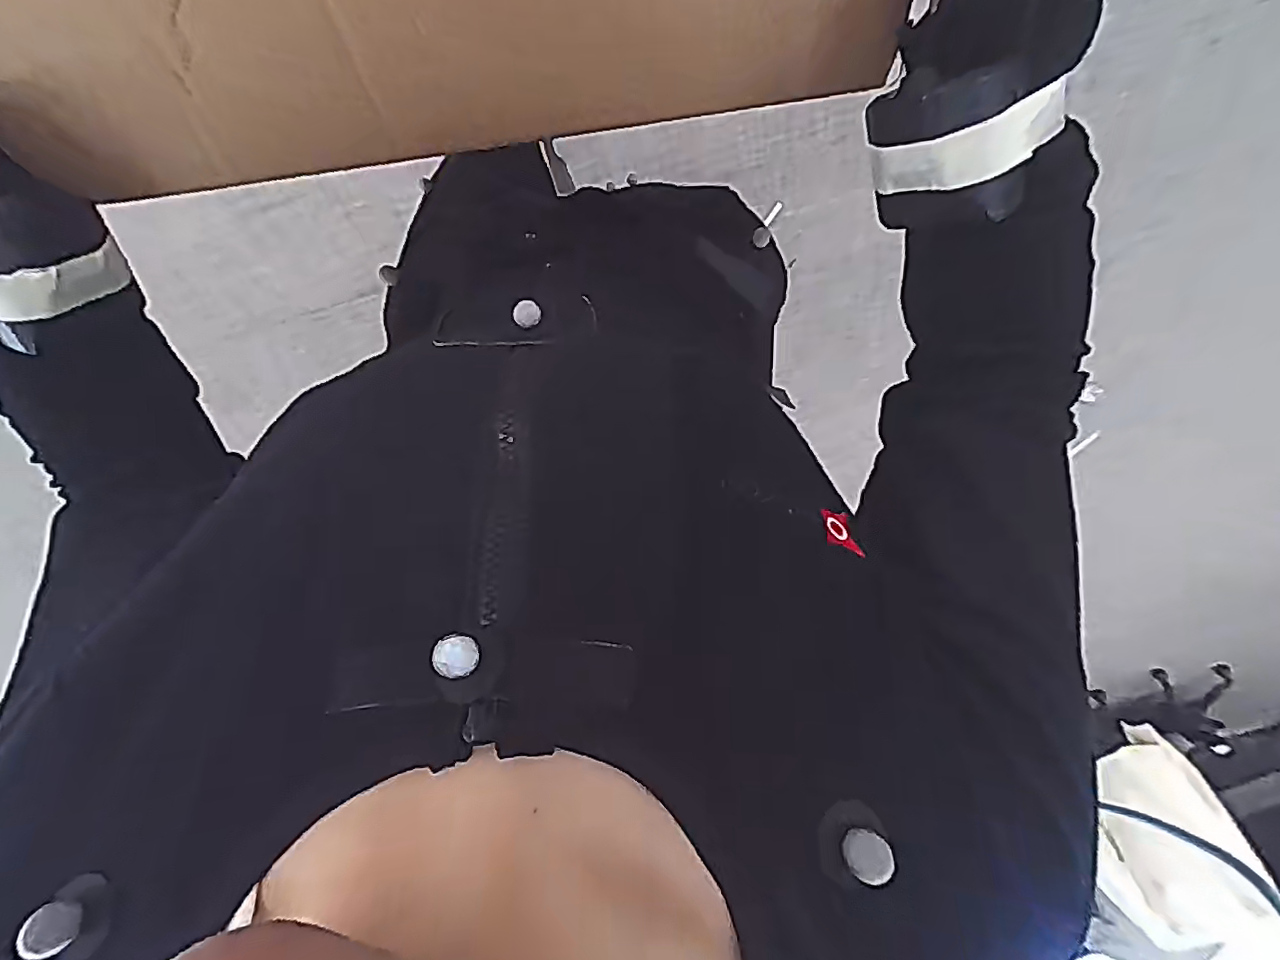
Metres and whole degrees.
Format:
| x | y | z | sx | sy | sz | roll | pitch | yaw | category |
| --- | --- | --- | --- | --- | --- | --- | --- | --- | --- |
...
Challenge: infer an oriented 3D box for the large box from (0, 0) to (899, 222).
| x | y | z | sx | sy | sz | roll | pitch | yaw | category |
| --- | --- | --- | --- | --- | --- | --- | --- | --- | --- |
| -0.107 | -0.362 | 0.203 | 0.408 | 0.320 | 0.320 | -8 | 156 | 1 | large box |
